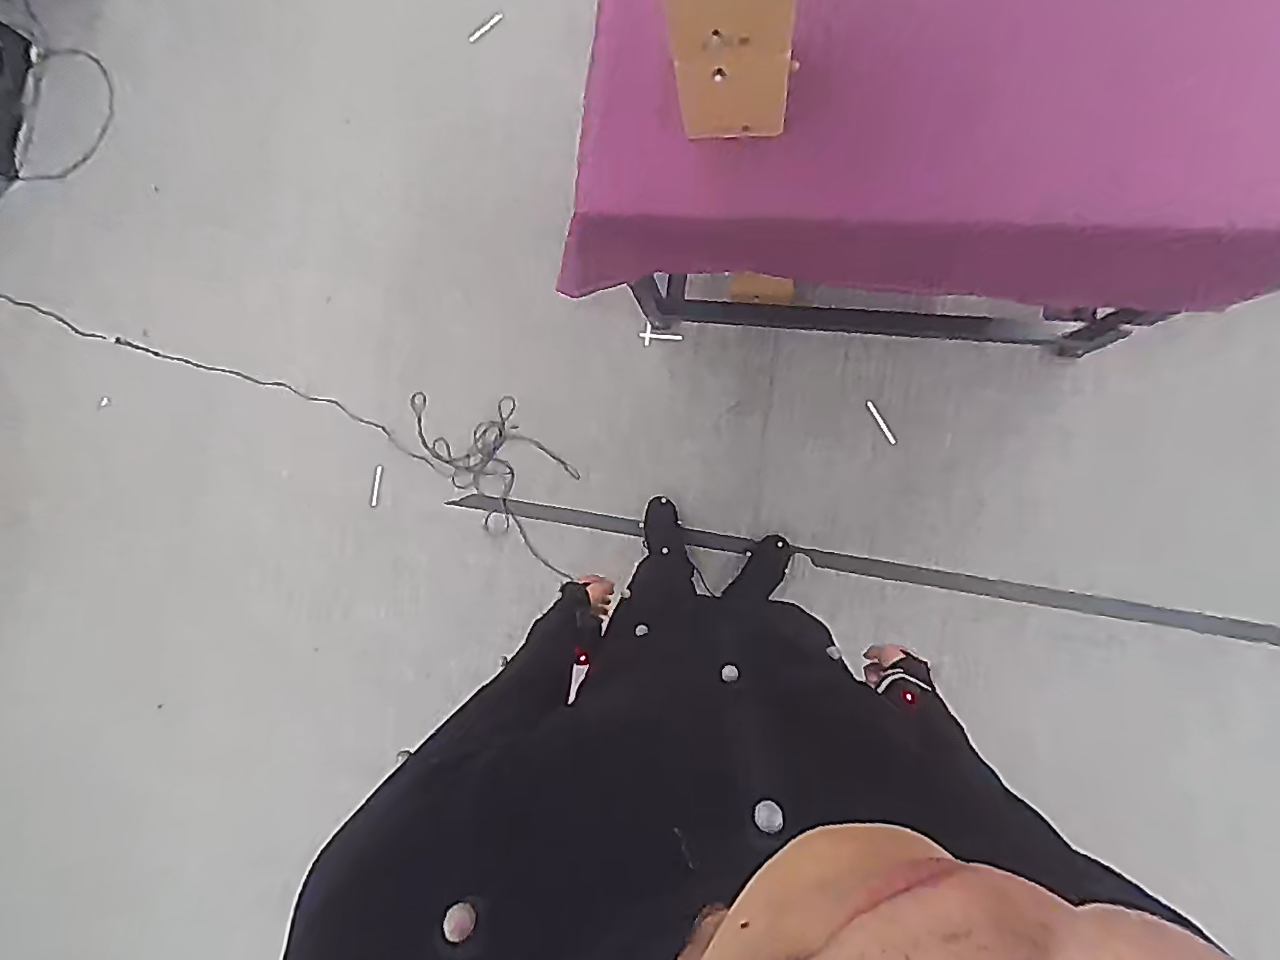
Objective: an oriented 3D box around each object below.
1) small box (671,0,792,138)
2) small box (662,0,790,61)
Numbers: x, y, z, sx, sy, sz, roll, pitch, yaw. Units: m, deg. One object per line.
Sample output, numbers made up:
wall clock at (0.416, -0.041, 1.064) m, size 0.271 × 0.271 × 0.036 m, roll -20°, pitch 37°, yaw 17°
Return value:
small box at (0.147, -0.678, 0.849) m, size 0.168 × 0.176 × 0.179 m, roll 5°, pitch 88°, yaw 11°
small box at (0.113, -0.687, 0.689) m, size 0.168 × 0.176 × 0.179 m, roll 4°, pitch 88°, yaw 11°
